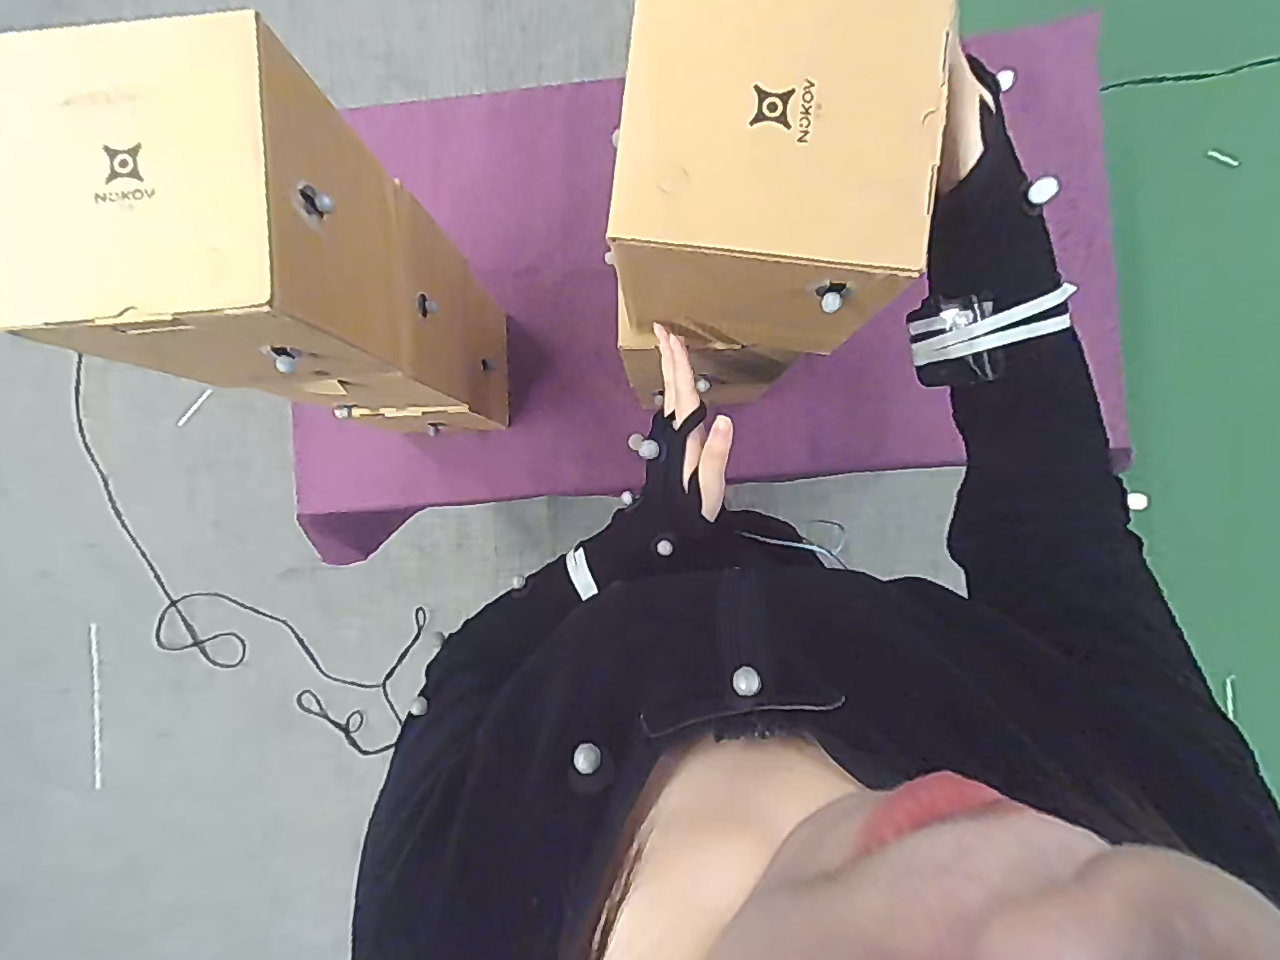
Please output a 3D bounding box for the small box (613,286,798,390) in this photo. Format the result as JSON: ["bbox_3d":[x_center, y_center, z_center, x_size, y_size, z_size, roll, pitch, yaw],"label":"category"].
[{"bbox_3d":[0.060,-0.194,0.544,0.168,0.176,0.179,0,90,2],"label":"small box"}]

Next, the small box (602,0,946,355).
[{"bbox_3d":[0.076,-0.196,0.380,0.179,0.176,0.168,8,89,0],"label":"small box"}]

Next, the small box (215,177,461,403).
[{"bbox_3d":[-0.291,-0.175,0.550,0.168,0.176,0.179,-1,88,1],"label":"small box"}]

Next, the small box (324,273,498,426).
[{"bbox_3d":[-0.290,-0.164,0.715,0.168,0.176,0.179,-1,89,0],"label":"small box"}]

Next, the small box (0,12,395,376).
[{"bbox_3d":[-0.293,-0.175,0.387,0.168,0.176,0.179,-3,88,0],"label":"small box"}]
